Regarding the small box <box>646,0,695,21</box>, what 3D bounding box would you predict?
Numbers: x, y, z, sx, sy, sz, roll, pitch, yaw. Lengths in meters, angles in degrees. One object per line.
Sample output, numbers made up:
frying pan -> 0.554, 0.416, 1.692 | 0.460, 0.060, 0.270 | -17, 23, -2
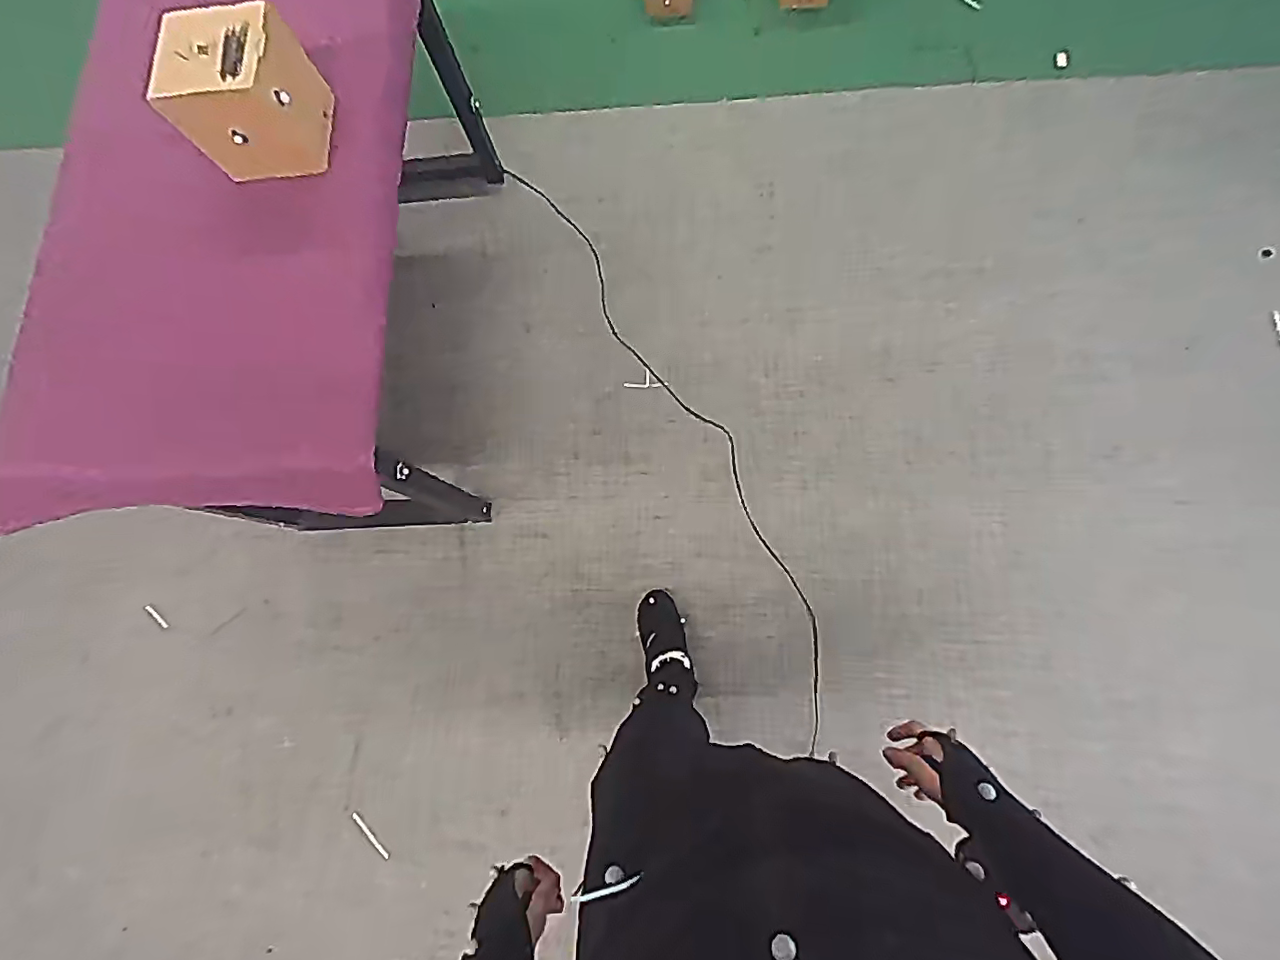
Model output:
small box -> 0.104, -1.703, 1.824 | 0.168, 0.176, 0.179 | 0, 77, 5

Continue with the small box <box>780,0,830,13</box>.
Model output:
small box -> 0.560, -1.701, 1.791 | 0.168, 0.176, 0.179 | 1, 78, 4
